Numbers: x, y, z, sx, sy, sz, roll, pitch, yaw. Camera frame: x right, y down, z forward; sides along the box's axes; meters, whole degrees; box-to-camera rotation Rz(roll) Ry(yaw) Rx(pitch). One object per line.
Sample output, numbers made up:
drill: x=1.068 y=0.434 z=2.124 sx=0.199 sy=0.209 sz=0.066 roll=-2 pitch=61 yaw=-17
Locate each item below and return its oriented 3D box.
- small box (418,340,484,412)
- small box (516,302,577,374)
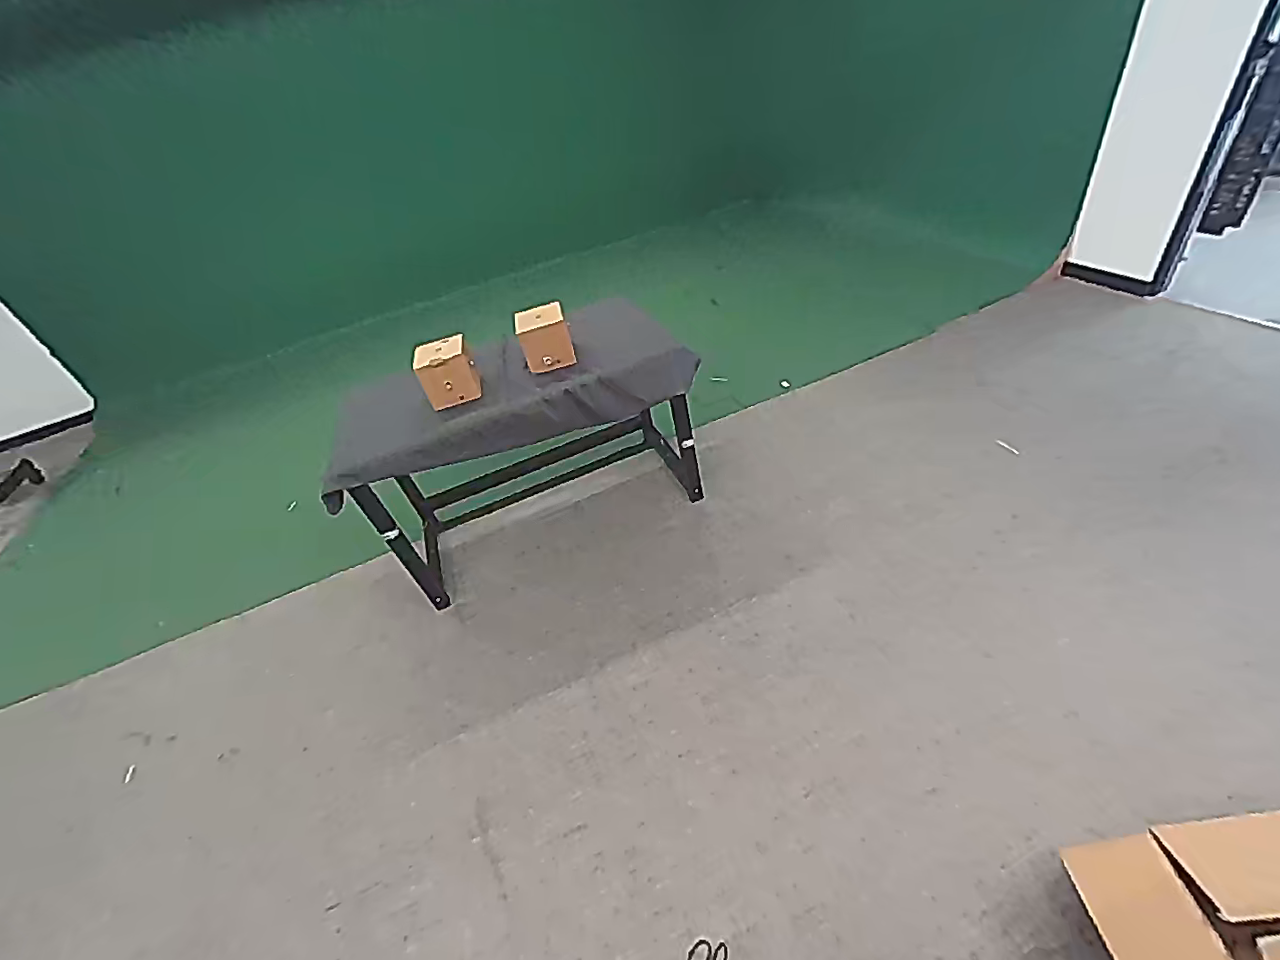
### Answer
small box: x=-0.649 y=-0.353 z=1.867 sx=0.168 sy=0.176 sz=0.179 roll=-21 pitch=39 yaw=-5
small box: x=-0.329 y=-0.500 z=1.909 sx=0.168 sy=0.176 sz=0.179 roll=-17 pitch=40 yaw=1
